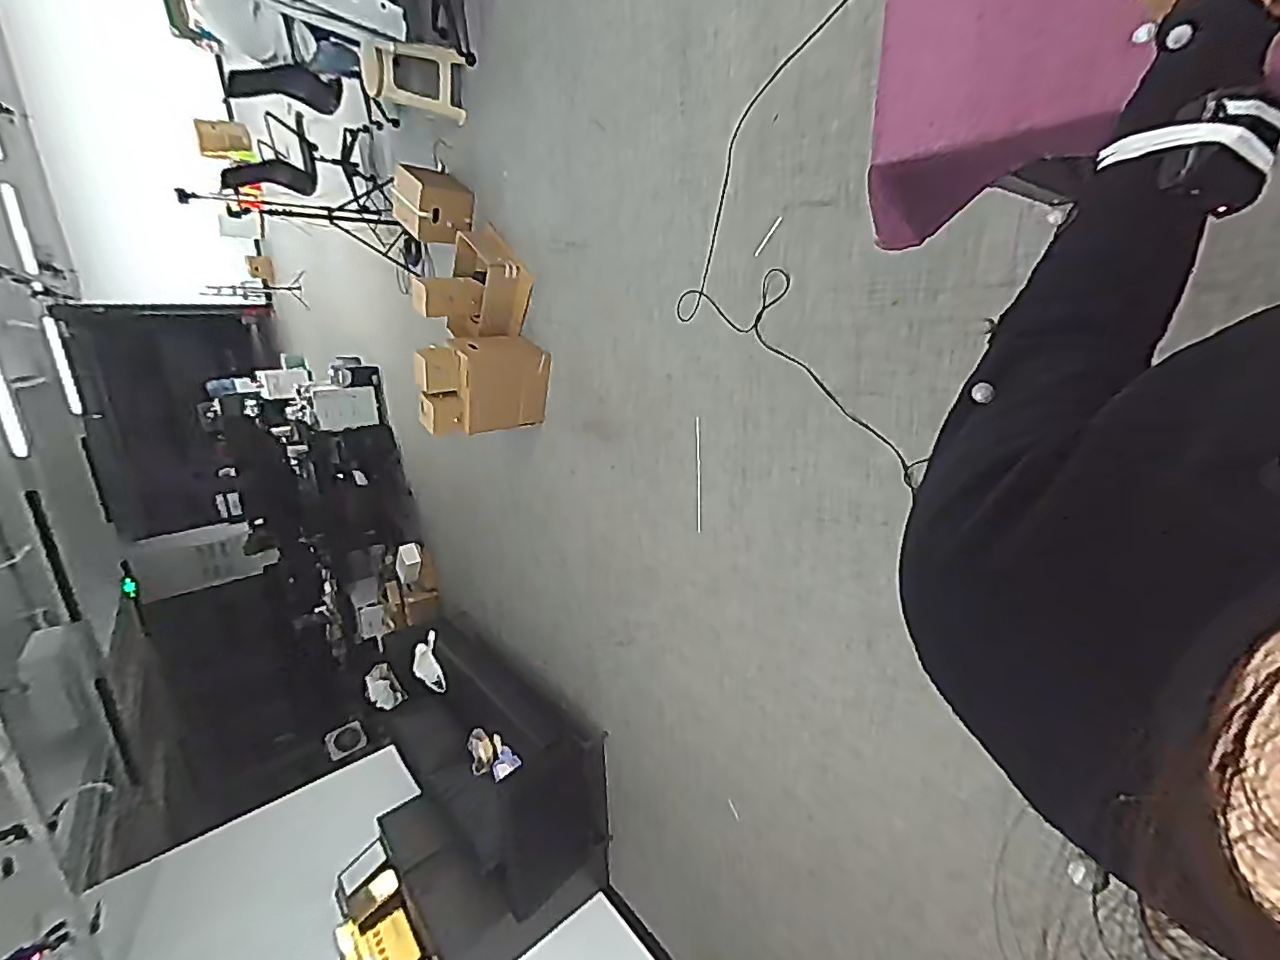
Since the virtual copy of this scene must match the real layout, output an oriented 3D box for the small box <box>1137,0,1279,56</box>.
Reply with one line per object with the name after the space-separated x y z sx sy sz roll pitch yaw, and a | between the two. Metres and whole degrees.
0.515 -0.481 0.419 0.168 0.176 0.179 15 113 48 | small box
